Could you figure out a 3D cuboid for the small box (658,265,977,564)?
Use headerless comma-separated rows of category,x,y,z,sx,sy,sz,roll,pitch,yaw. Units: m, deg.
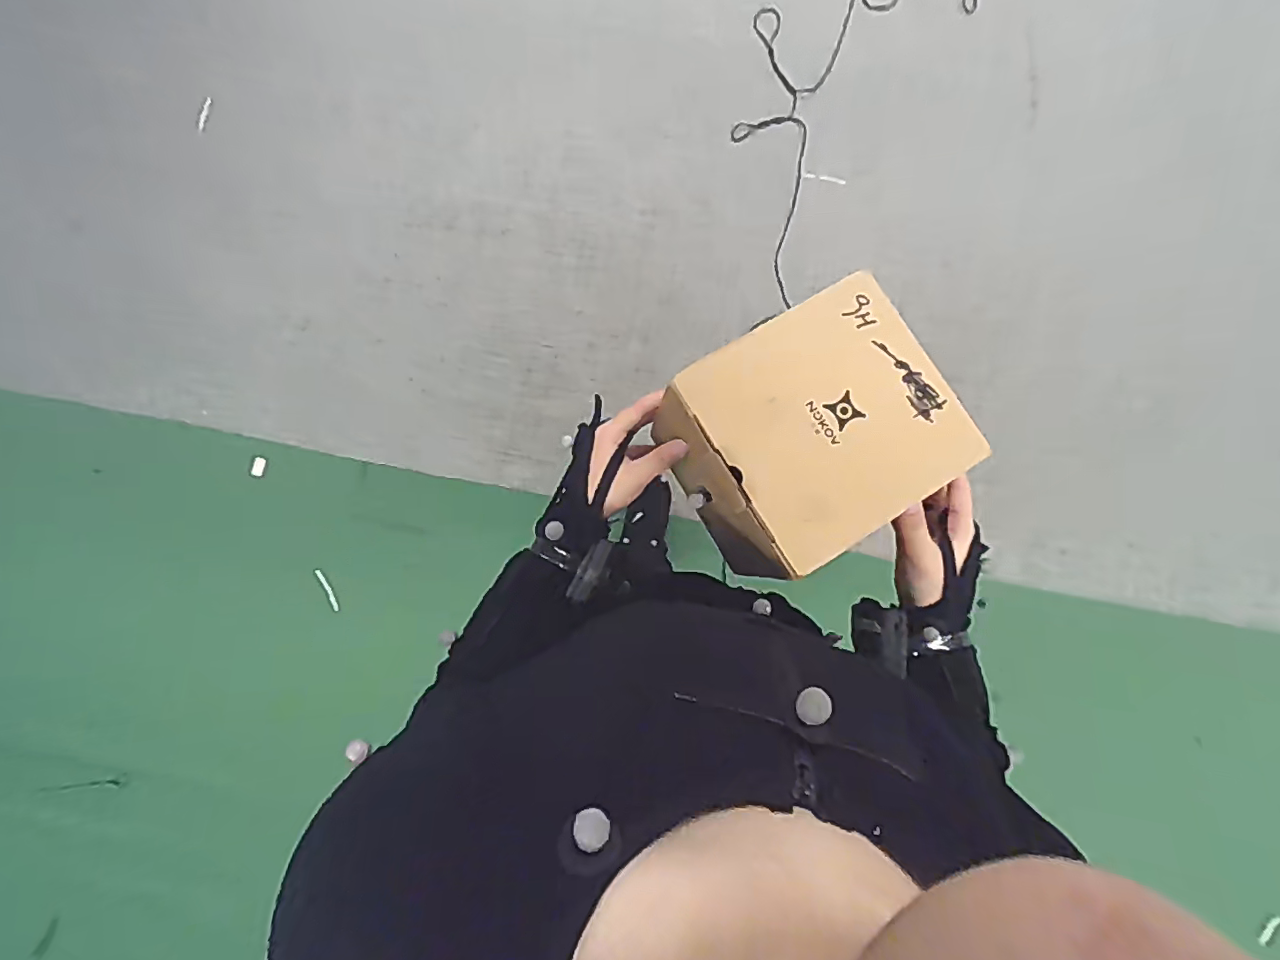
small box,0.127,-0.039,0.466,0.179,0.176,0.168,-31,84,-7
